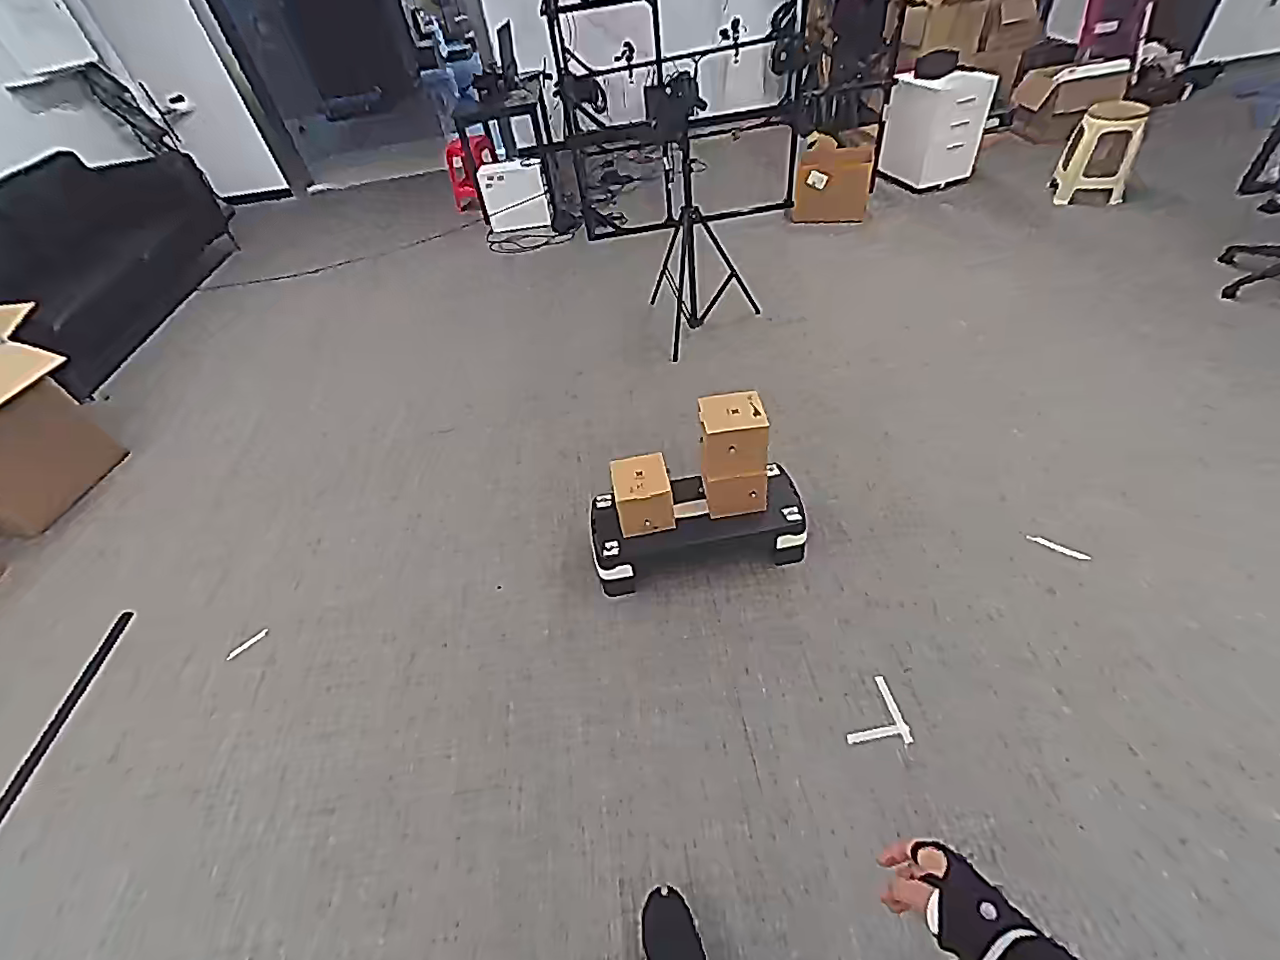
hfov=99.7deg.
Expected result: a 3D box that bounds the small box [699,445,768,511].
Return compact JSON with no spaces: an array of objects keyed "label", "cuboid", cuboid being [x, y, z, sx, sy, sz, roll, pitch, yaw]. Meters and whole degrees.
[{"label":"small box","cuboid":[0.282,-0.005,1.663,0.179,0.176,0.168,-10,44,0]}]

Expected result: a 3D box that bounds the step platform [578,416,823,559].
[{"label":"step platform","cuboid":[0.170,0.023,1.603,0.684,0.204,0.286,-10,45,-1]}]

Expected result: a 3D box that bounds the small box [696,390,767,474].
[{"label":"small box","cuboid":[0.263,-0.133,1.562,0.179,0.176,0.168,-8,45,3]}]

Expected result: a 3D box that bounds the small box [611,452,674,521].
[{"label":"small box","cuboid":[0.006,0.043,1.659,0.168,0.176,0.179,-11,45,-1]}]
